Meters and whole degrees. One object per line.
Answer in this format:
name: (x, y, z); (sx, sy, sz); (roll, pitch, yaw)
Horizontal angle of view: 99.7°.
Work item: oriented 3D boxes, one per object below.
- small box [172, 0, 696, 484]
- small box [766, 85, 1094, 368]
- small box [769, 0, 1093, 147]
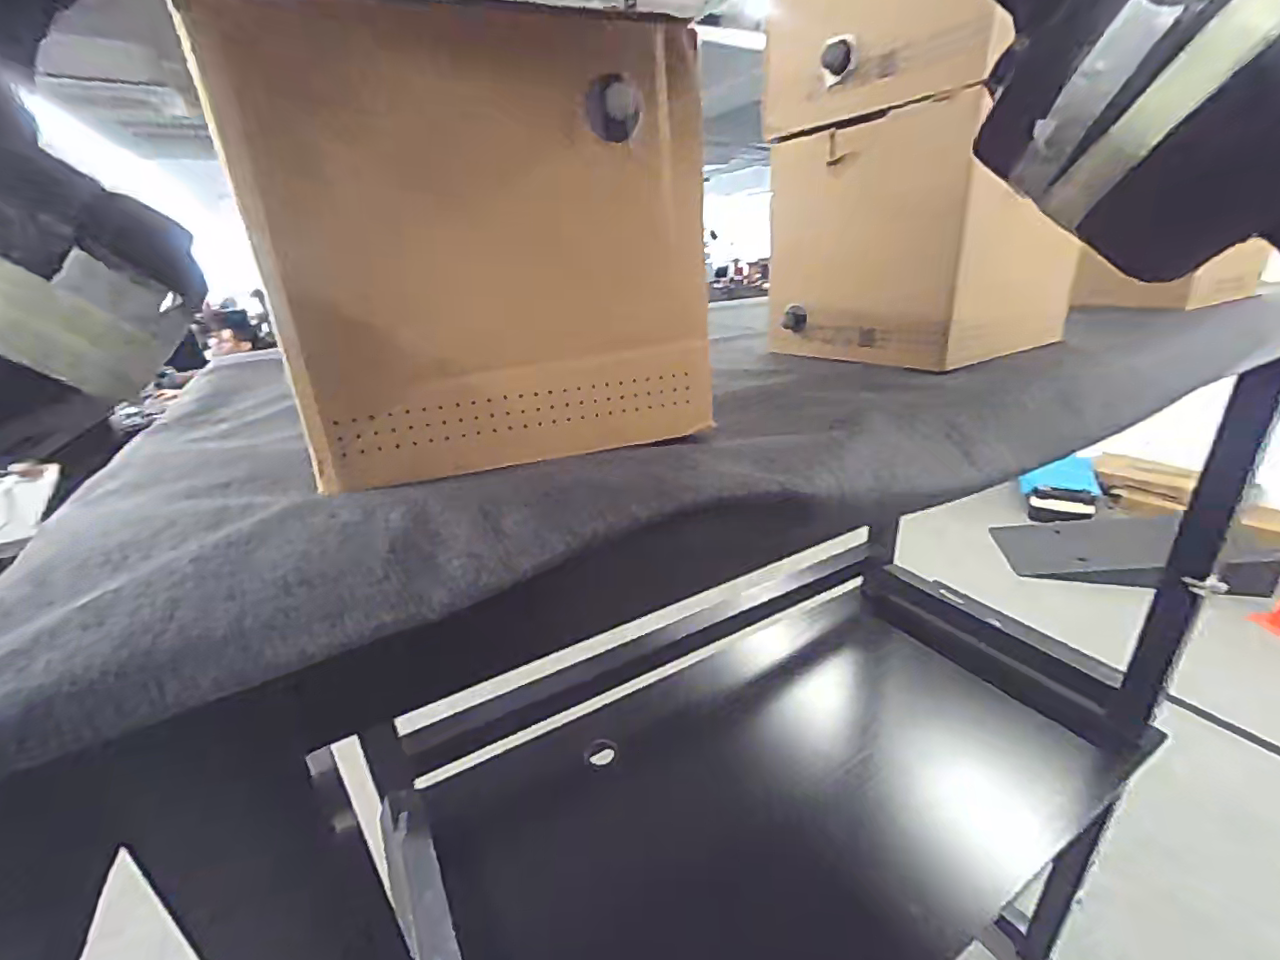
small box: (-0.082, -0.105, 0.284); (0.179, 0.176, 0.168); (-11, 21, -19)
small box: (0.224, -0.191, 0.444); (0.179, 0.176, 0.168); (-16, 25, -29)
small box: (0.206, -0.344, 0.392); (0.179, 0.176, 0.168); (-20, 26, -33)
